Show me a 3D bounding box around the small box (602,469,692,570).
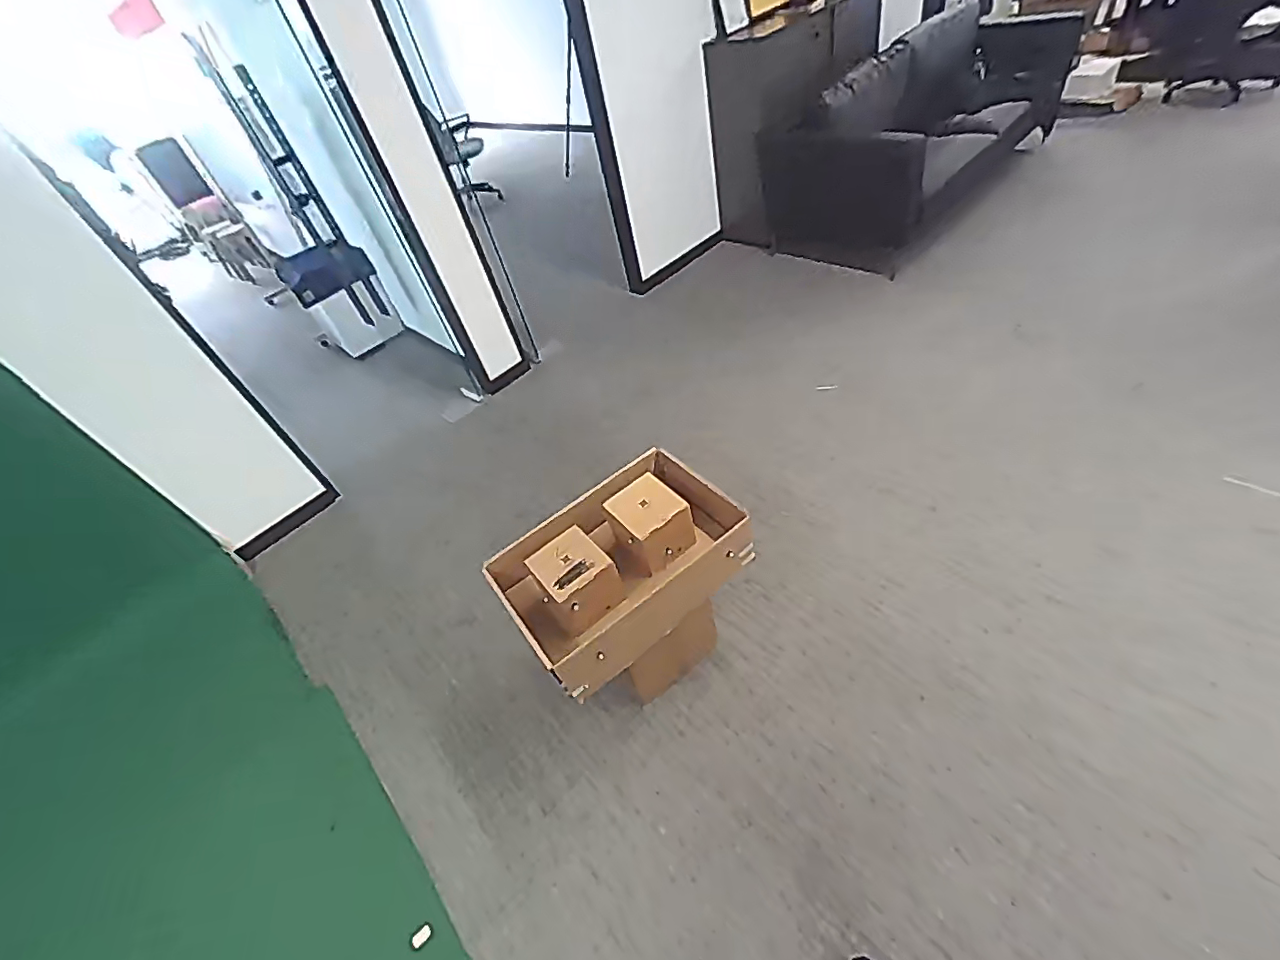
[{"bbox_3d":[0.022,0.110,1.471,0.168,0.176,0.179,-35,50,-18],"label":"small box"}]
